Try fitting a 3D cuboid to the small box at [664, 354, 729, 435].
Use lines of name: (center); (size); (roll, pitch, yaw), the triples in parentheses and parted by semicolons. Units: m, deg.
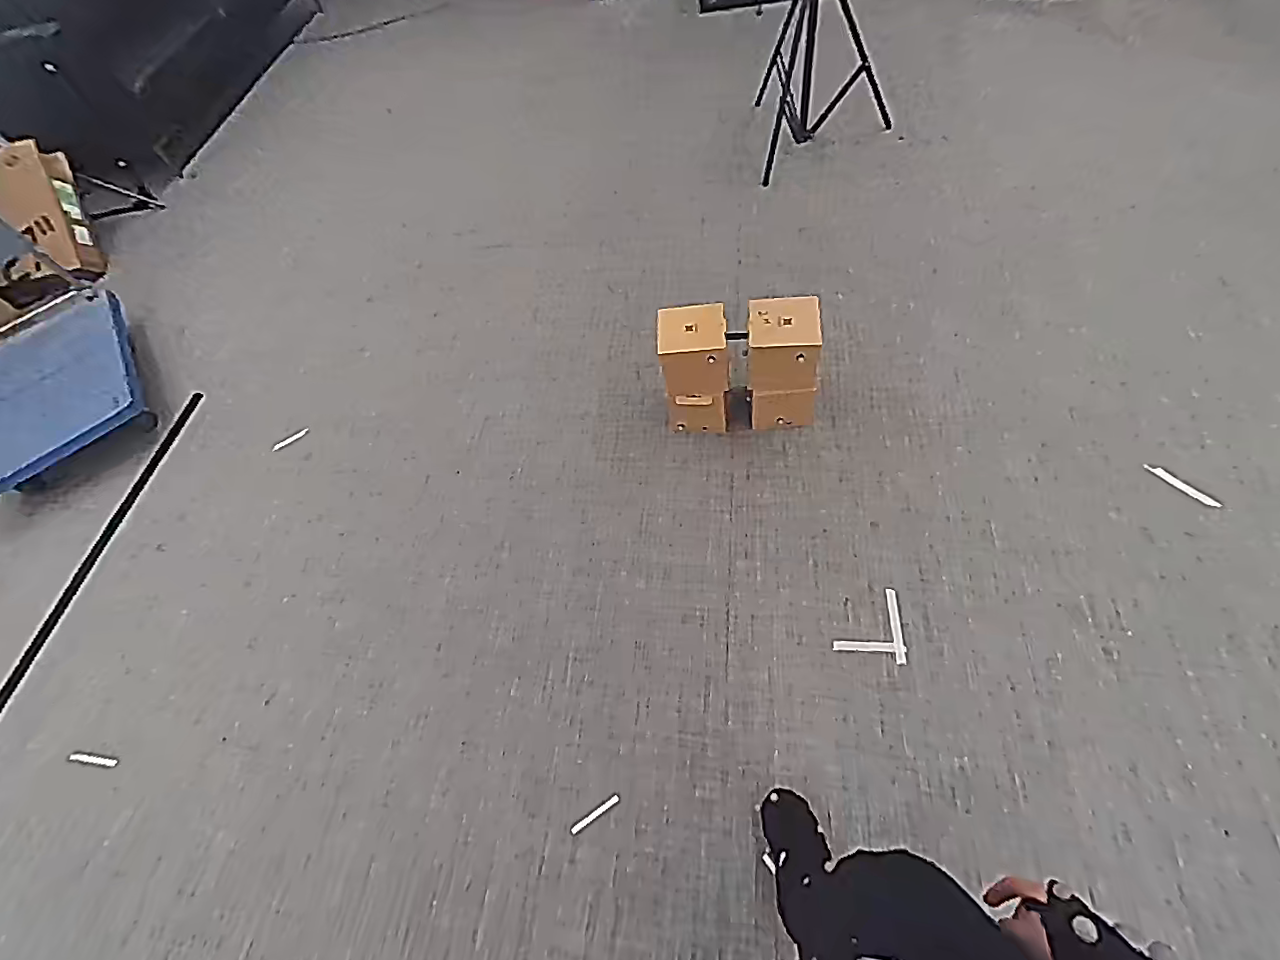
small box: (0.173, -0.249, 1.594); (0.168, 0.176, 0.179); (3, 60, 13)
